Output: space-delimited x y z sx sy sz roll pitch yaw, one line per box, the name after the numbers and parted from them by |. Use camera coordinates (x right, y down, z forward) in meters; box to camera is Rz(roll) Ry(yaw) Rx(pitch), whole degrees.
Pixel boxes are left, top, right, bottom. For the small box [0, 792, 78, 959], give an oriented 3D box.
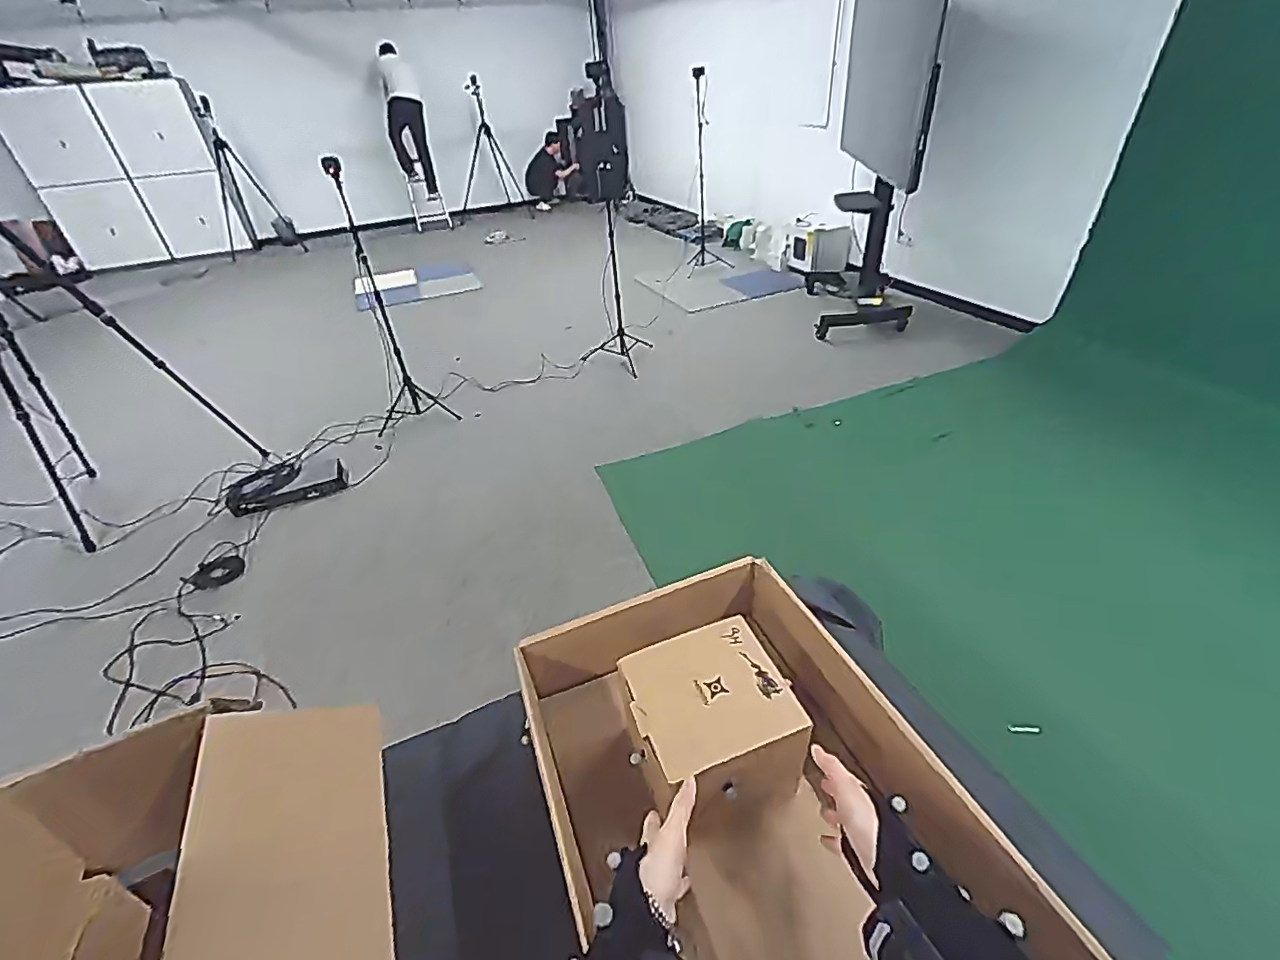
-0.456 0.284 0.278 0.168 0.176 0.179 -14 37 -20 | small box
